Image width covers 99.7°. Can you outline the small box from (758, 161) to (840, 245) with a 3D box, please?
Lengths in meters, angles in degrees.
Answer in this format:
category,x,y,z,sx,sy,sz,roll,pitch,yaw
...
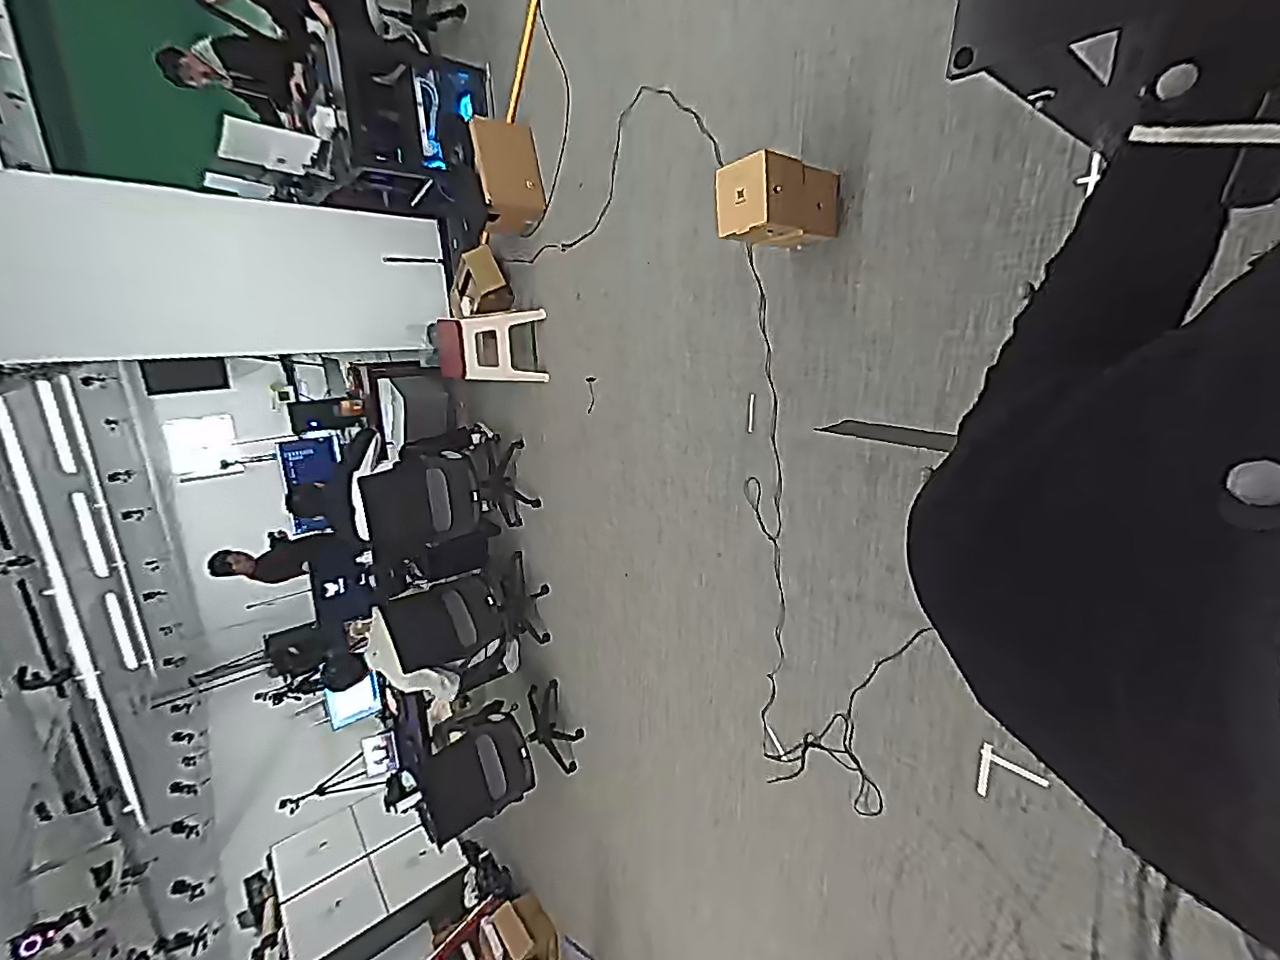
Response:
category,x,y,z,sx,sy,sz,roll,pitch,yaw
small box,0.458,-0.788,1.559,0.168,0.176,0.179,14,112,49

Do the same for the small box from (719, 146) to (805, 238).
category,x,y,z,sx,sy,sz,roll,pitch,yaw
small box,0.332,-0.765,1.459,0.168,0.176,0.179,9,106,49
